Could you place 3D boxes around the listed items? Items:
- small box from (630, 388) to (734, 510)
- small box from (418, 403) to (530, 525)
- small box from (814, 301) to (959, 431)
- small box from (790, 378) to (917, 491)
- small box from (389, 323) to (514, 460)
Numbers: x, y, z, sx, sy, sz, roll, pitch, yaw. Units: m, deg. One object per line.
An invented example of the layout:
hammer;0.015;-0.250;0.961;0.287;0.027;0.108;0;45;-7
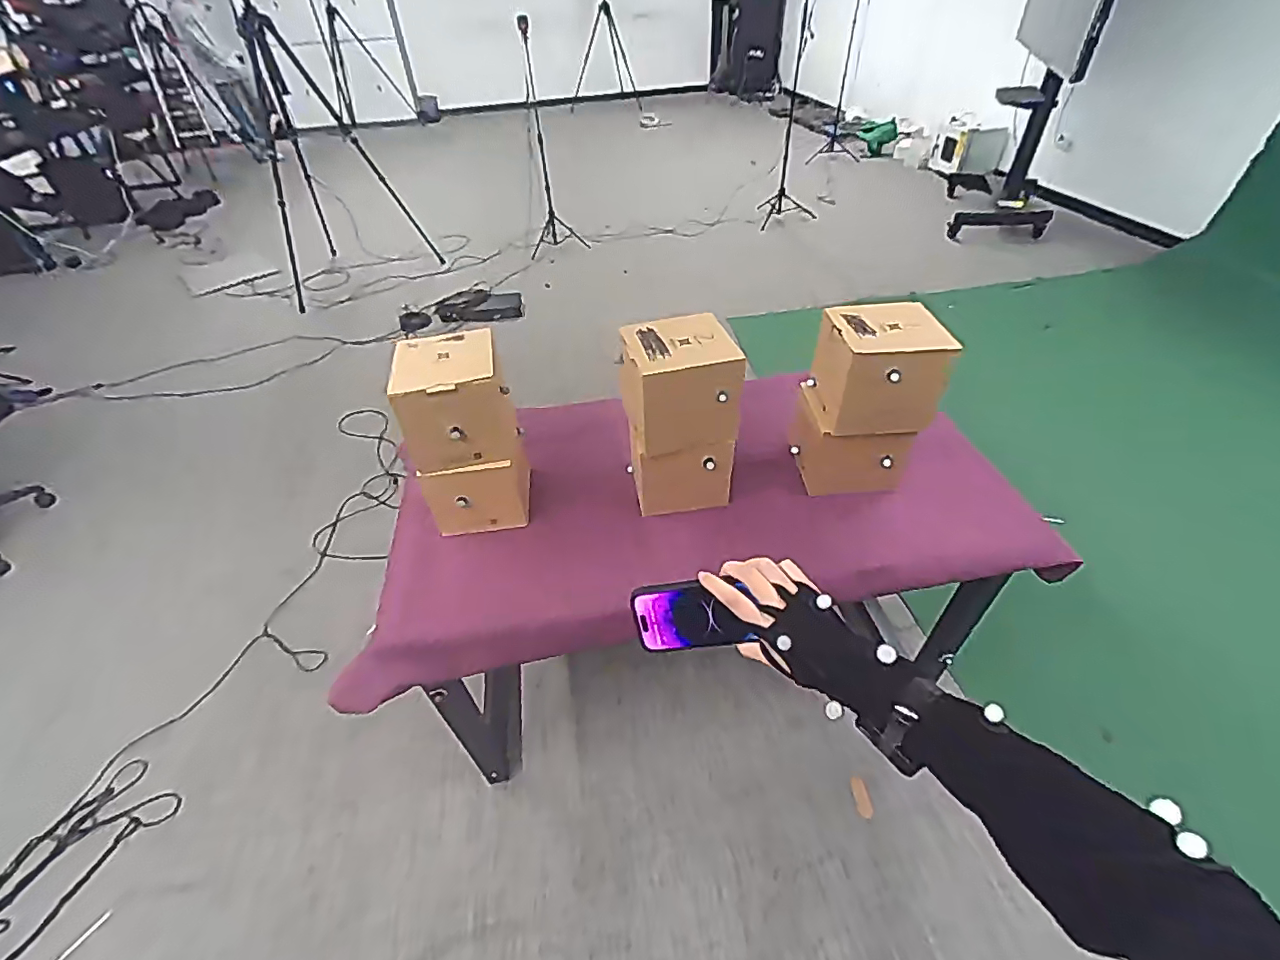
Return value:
small box;0.076;-0.060;1.071;0.179;0.176;0.168;-7;44;-3
small box;-0.313;-0.026;1.063;0.168;0.176;0.179;-7;44;-3
small box;0.418;-0.199;0.959;0.179;0.176;0.168;-3;44;0
small box;0.415;-0.092;1.082;0.179;0.176;0.168;-3;44;1
small box;-0.322;-0.150;0.954;0.168;0.176;0.179;-10;45;-7
